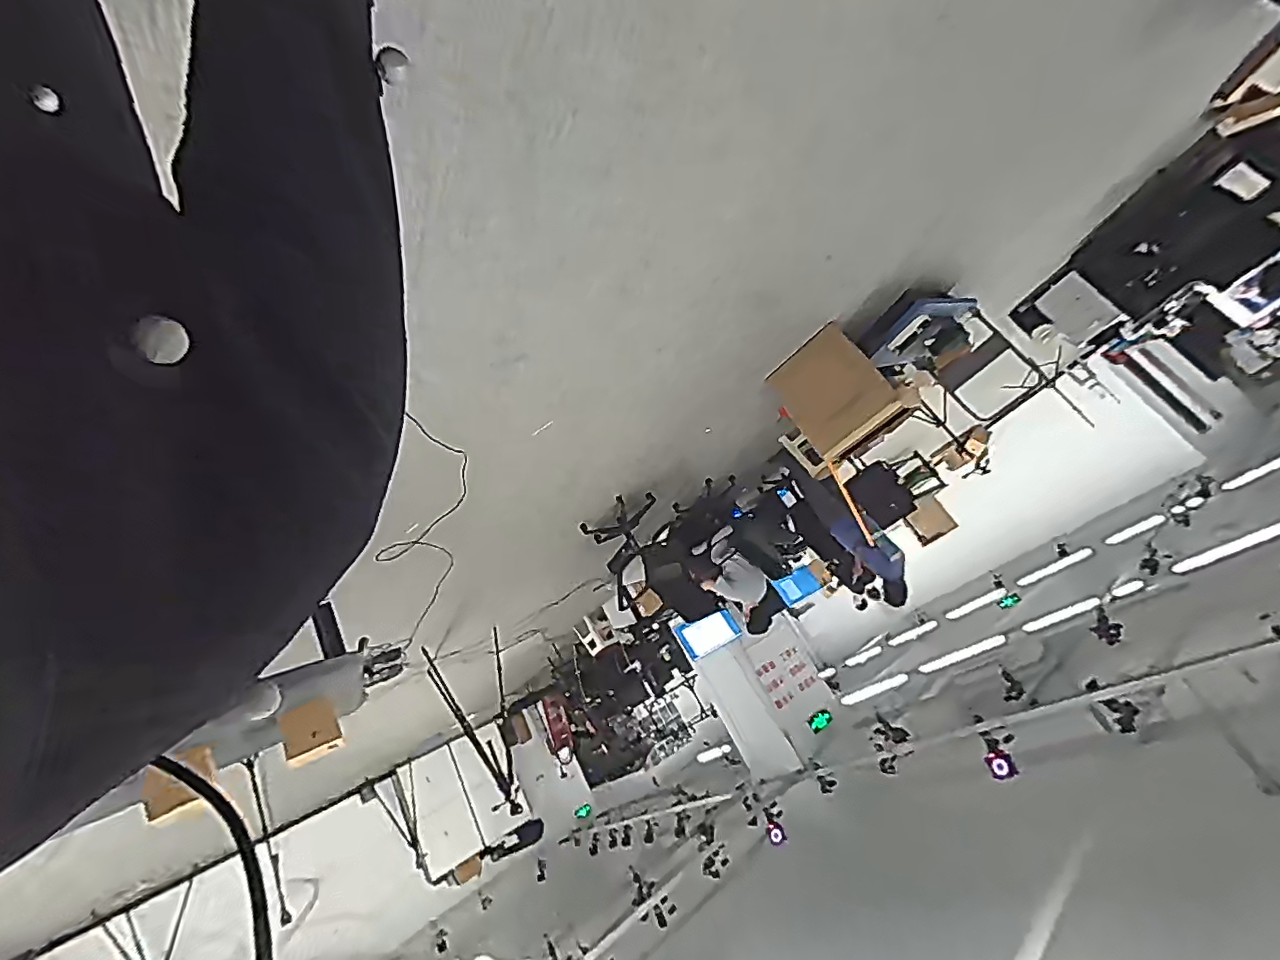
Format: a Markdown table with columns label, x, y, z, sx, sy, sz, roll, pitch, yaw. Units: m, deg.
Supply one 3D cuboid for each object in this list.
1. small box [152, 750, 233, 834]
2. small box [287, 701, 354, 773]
| label | x | y | z | sx | sy | sz | roll | pitch | yaw |
| --- | --- | --- | --- | --- | --- | --- | --- | --- | --- |
| small box | -1.458 | 1.013 | 1.763 | 0.168 | 0.176 | 0.179 | -15 | 153 | -37 |
| small box | -1.171 | 0.938 | 1.985 | 0.179 | 0.176 | 0.168 | -16 | 154 | -32 |
